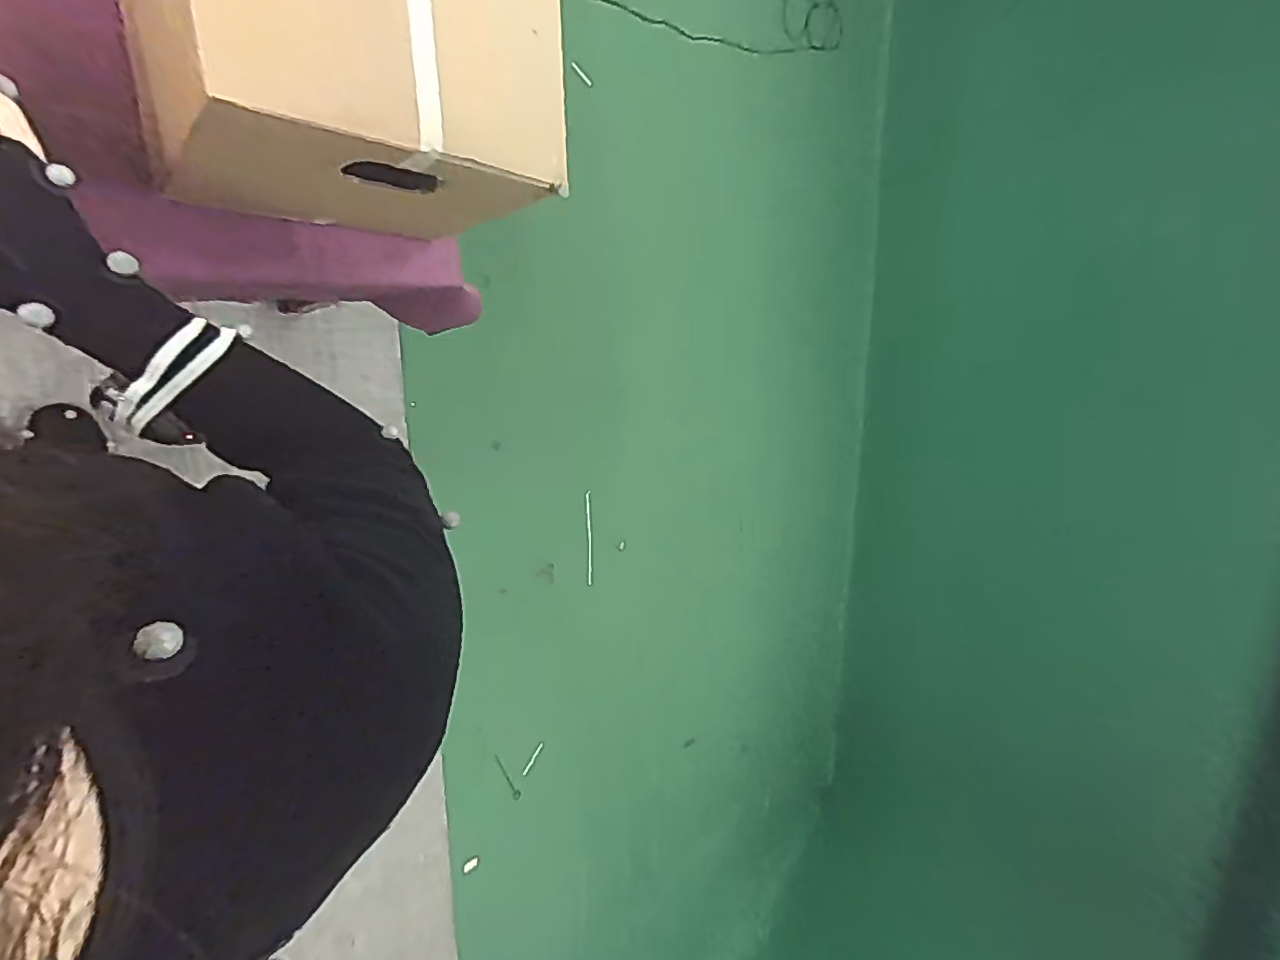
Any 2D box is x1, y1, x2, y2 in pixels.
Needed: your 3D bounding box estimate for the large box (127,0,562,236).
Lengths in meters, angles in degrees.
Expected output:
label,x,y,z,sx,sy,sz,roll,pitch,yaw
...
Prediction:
label,x,y,z,sx,sy,sz,roll,pitch,yaw
large box,-0.303,-0.504,0.546,0.320,0.320,0.408,-13,108,-45
